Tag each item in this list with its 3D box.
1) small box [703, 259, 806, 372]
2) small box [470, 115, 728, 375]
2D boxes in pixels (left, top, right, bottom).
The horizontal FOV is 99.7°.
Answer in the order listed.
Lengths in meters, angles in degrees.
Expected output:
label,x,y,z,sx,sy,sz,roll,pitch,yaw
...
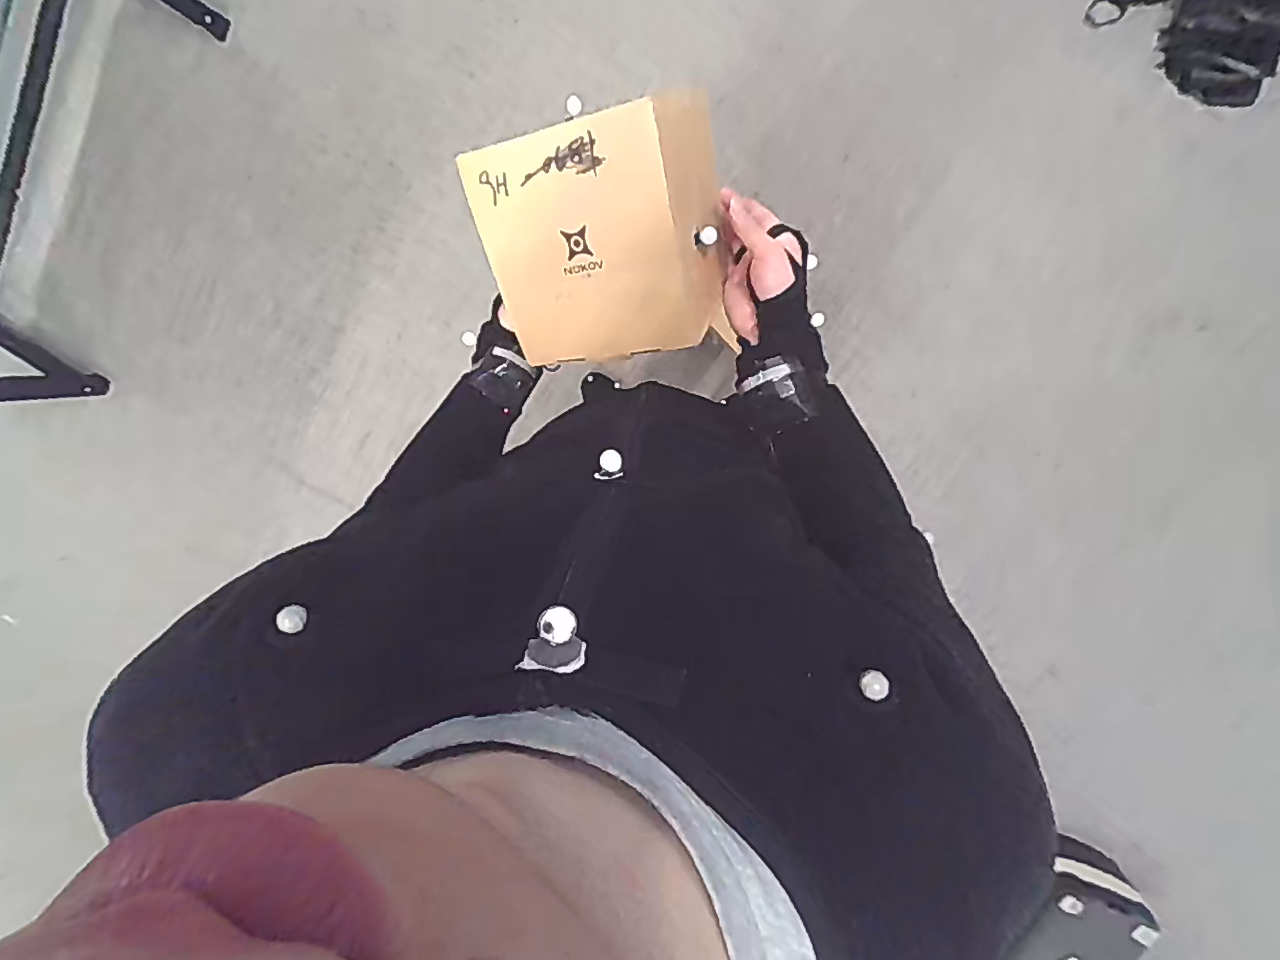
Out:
label,x,y,z,sx,sy,sz,roll,pitch,yaw
small box,0.246,-0.365,1.230,0.179,0.176,0.168,-43,93,14
small box,-0.019,-0.218,0.506,0.168,0.176,0.179,-1,124,21
